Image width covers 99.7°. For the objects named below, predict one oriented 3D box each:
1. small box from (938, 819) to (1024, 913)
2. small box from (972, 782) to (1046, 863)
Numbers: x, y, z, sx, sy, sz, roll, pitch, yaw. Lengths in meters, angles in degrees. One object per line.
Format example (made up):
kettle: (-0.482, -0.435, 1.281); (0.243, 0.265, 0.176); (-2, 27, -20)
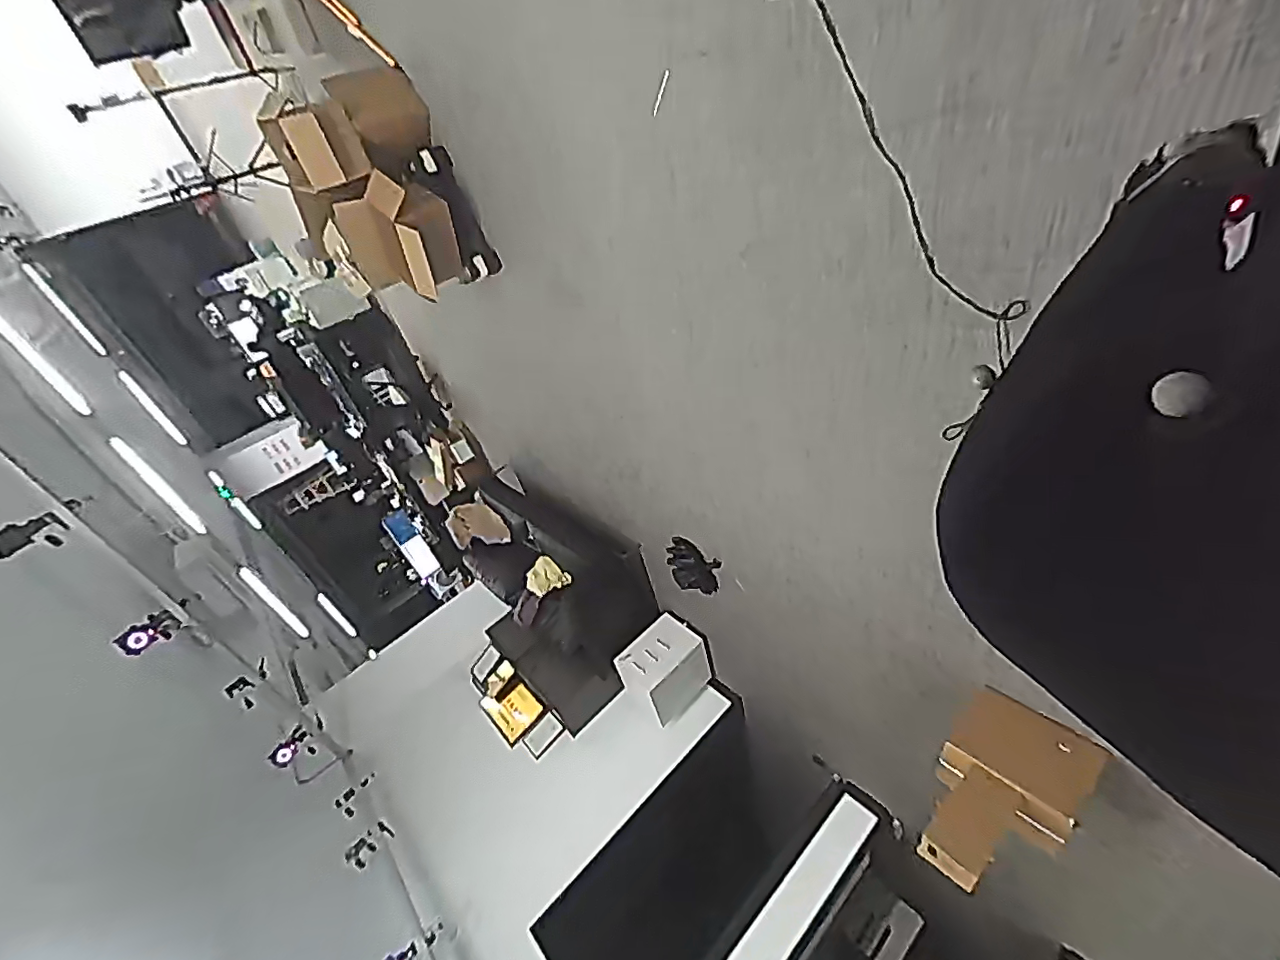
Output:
small box: (1.118, 1.257, 1.777); (0.179, 0.176, 0.168); (29, 145, 42)
small box: (1.245, 1.175, 1.843); (0.168, 0.176, 0.179); (30, 145, 42)
